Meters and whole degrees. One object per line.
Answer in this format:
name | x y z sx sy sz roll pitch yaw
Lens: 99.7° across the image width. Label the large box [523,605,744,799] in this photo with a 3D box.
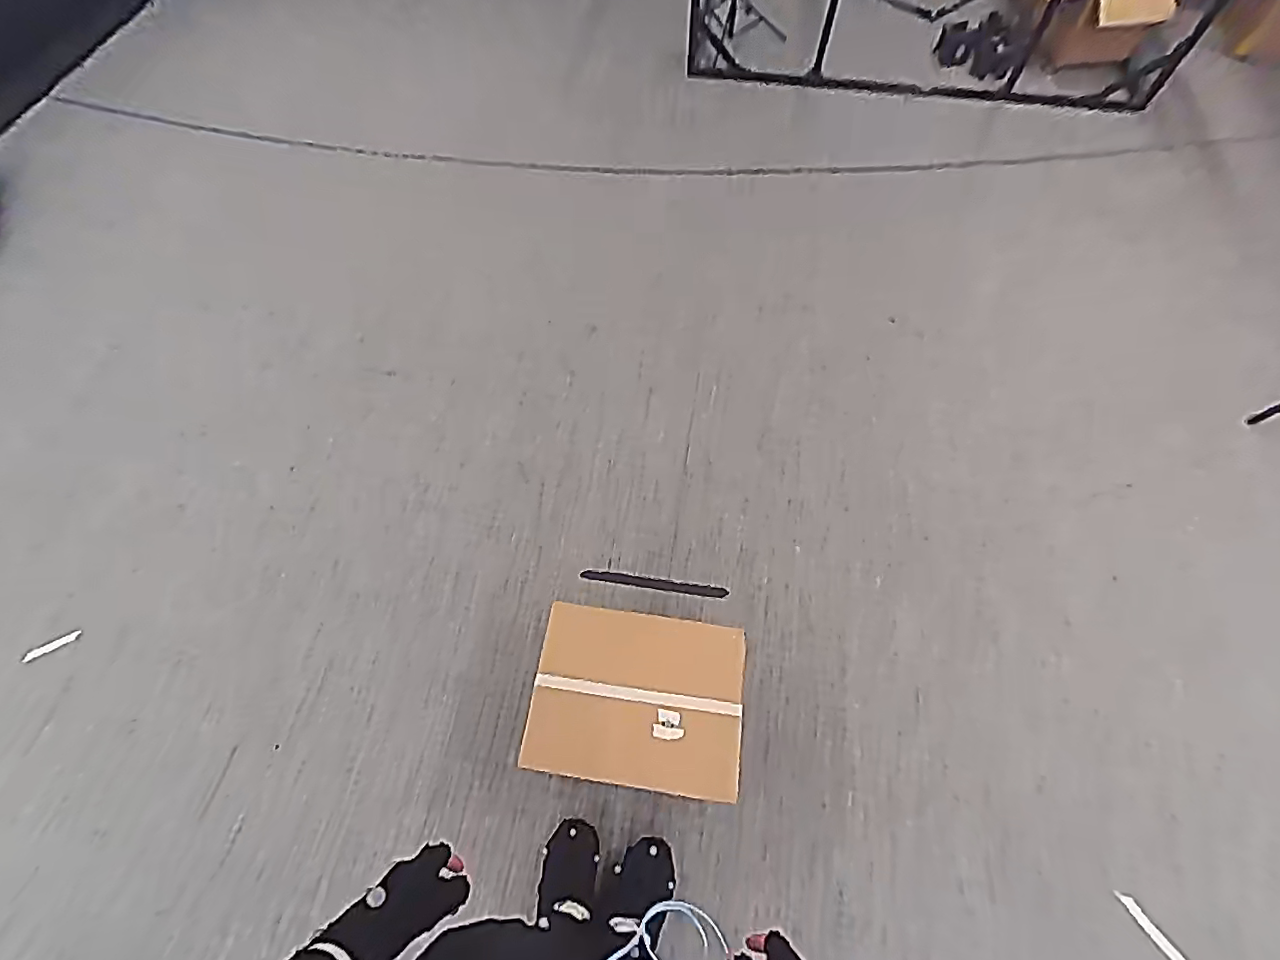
large box | -0.005 0.488 1.185 0.408 0.320 0.320 8 63 4
